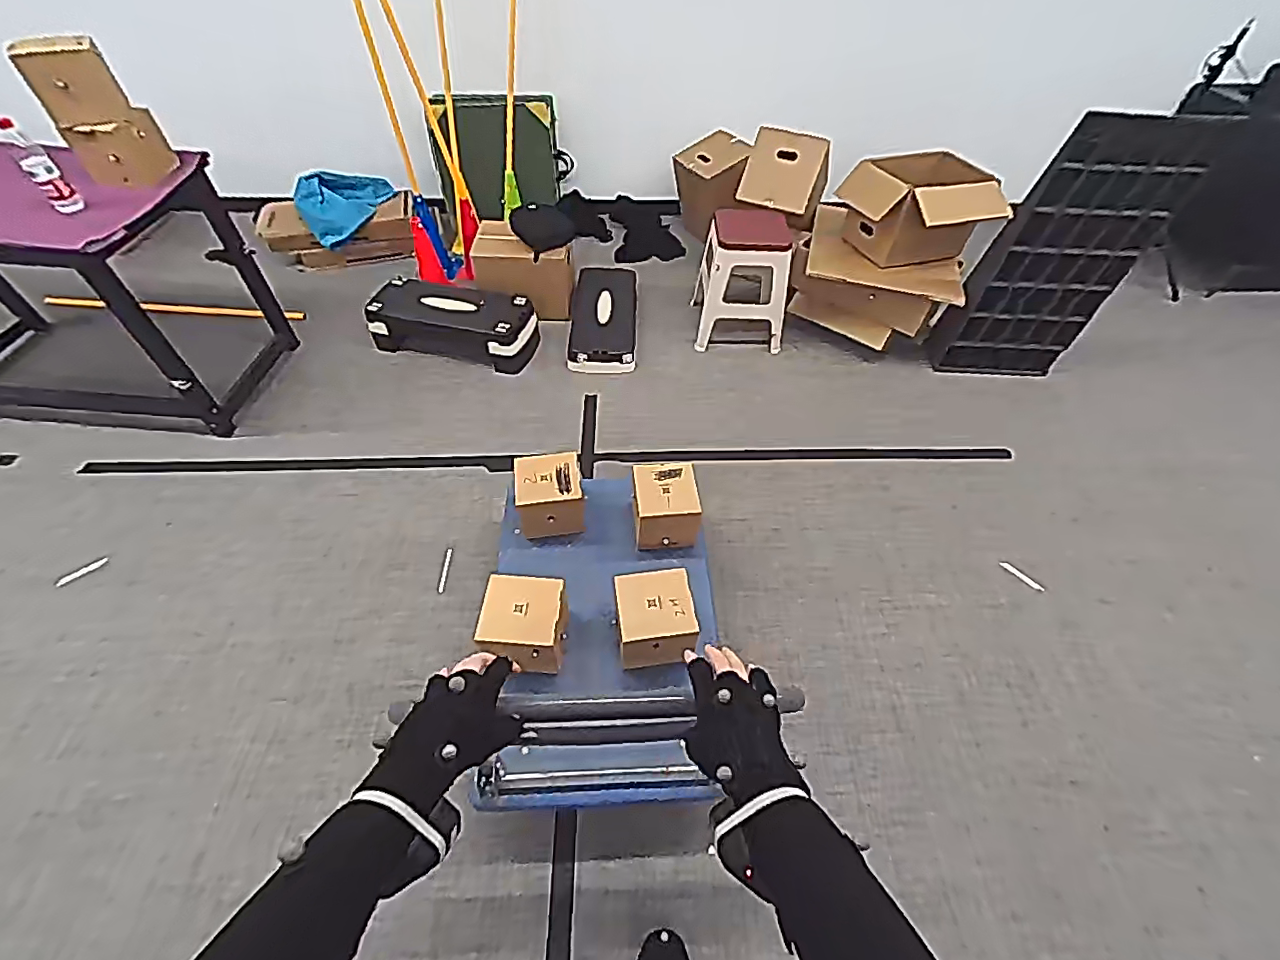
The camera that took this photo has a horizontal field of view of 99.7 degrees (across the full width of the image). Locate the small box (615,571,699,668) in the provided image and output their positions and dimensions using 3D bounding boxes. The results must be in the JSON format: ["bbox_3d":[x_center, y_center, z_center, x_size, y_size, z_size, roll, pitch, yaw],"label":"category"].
[{"bbox_3d":[0.036,0.340,1.307,0.179,0.176,0.168,-5,51,-6],"label":"small box"}]

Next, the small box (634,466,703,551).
[{"bbox_3d":[0.074,0.080,1.520,0.168,0.176,0.179,-3,52,-5],"label":"small box"}]

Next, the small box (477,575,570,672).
[{"bbox_3d":[-0.269,0.346,1.291,0.179,0.176,0.168,5,51,0],"label":"small box"}]
